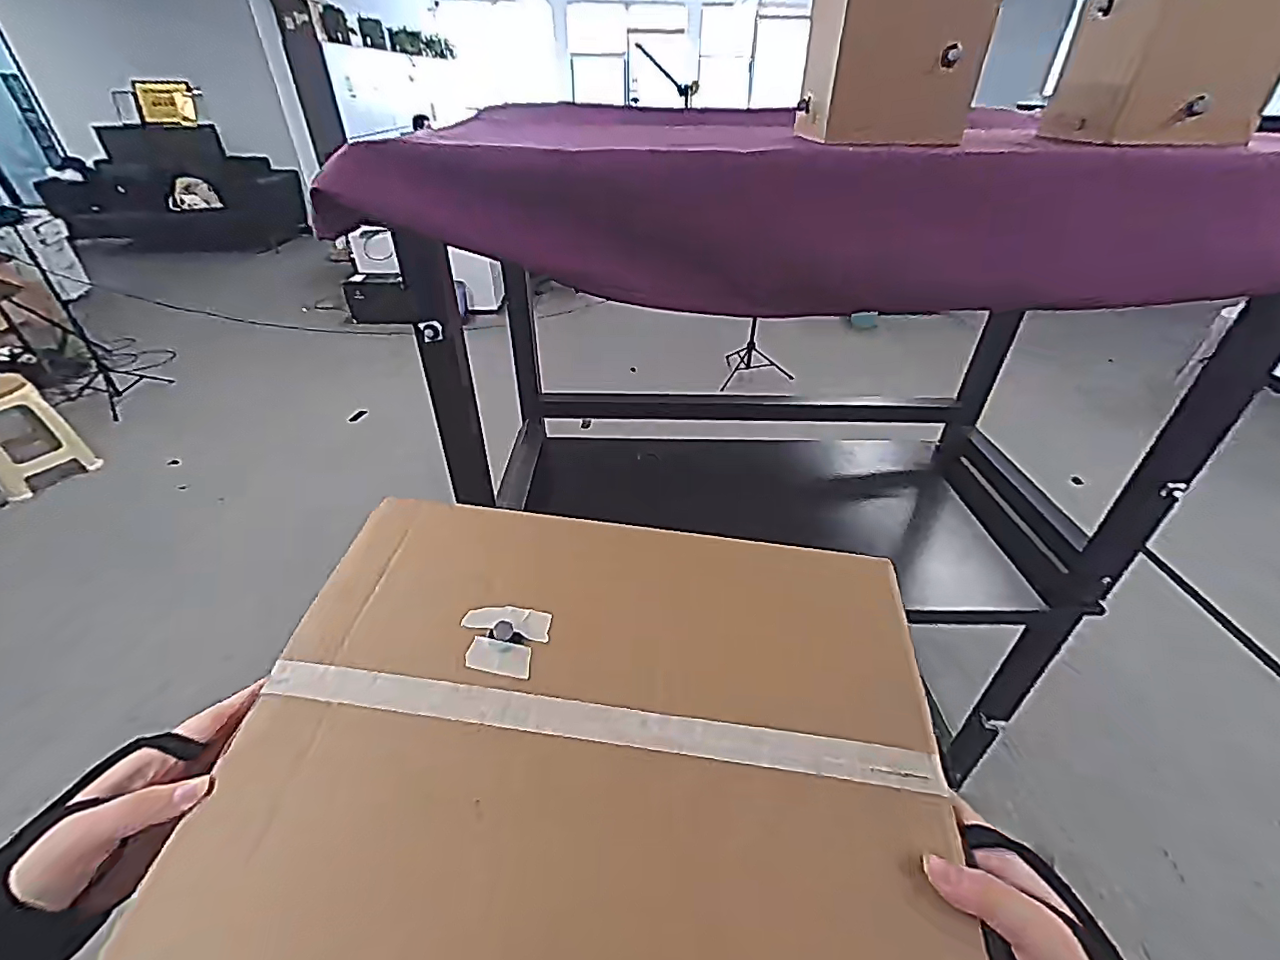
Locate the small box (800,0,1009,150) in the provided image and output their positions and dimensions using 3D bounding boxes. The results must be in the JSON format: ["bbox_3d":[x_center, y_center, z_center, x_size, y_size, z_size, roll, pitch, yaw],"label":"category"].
[{"bbox_3d":[0.322,-0.531,0.695,0.179,0.176,0.168,0,35,0],"label":"small box"}]

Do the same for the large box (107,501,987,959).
[{"bbox_3d":[-0.028,0.247,0.424,0.408,0.320,0.320,6,45,5],"label":"large box"}]

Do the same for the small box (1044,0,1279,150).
[{"bbox_3d":[0.677,-0.528,0.691,0.179,0.176,0.168,2,35,1],"label":"small box"}]
